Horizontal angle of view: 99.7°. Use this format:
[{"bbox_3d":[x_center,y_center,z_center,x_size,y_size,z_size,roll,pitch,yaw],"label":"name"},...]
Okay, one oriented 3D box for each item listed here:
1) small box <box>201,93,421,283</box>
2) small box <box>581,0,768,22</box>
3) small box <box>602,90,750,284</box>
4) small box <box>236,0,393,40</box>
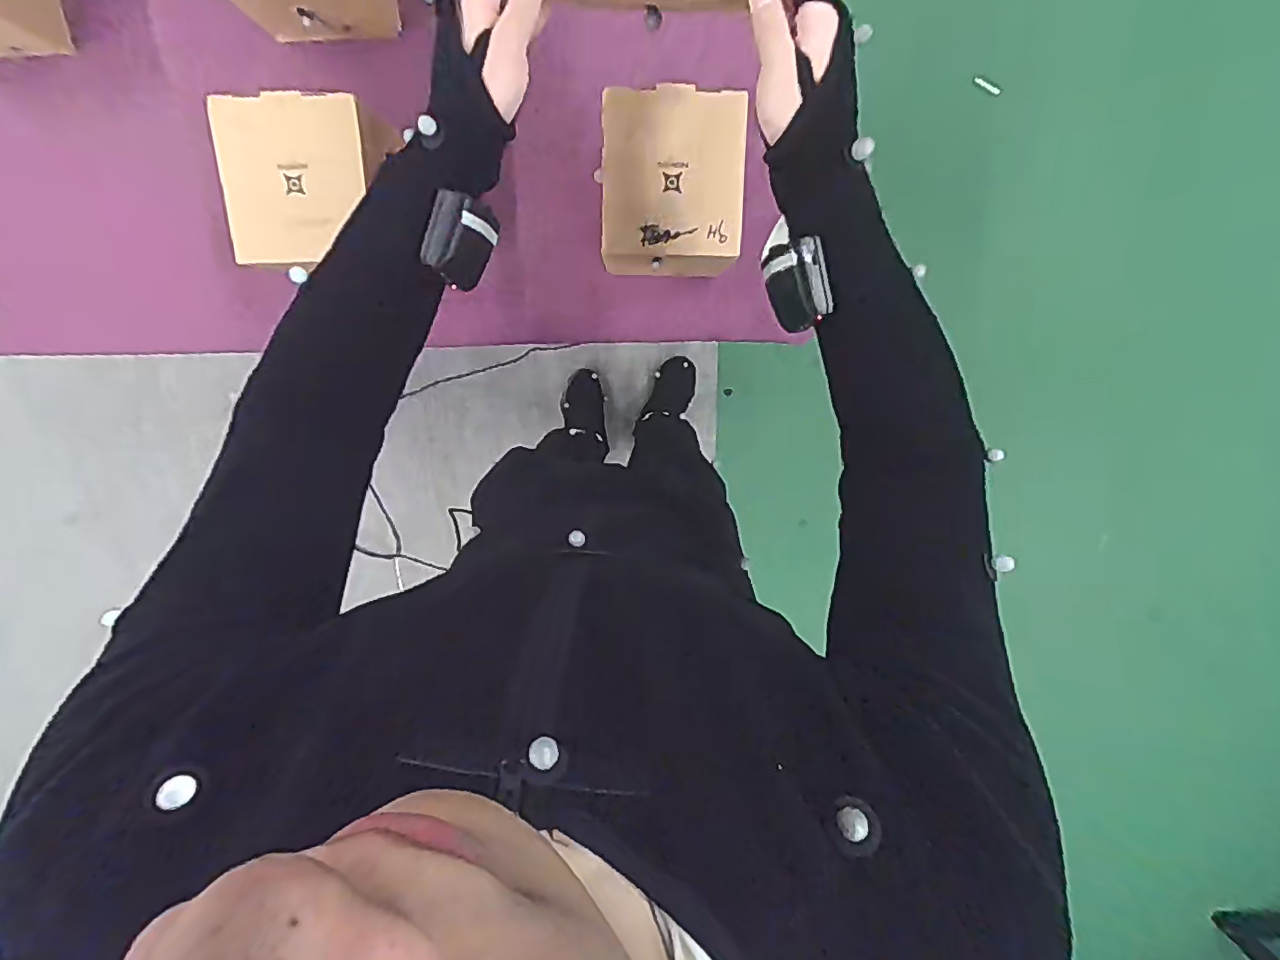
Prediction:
[{"bbox_3d":[-0.392,-0.350,0.679,0.168,0.176,0.179,-1,104,-1],"label":"small box"},{"bbox_3d":[0.021,-0.463,0.396,0.168,0.176,0.179,4,127,1],"label":"small box"},{"bbox_3d":[0.037,-0.358,0.691,0.168,0.176,0.179,1,103,-1],"label":"small box"},{"bbox_3d":[-0.398,-0.637,0.603,0.168,0.176,0.179,-3,106,-2],"label":"small box"}]
